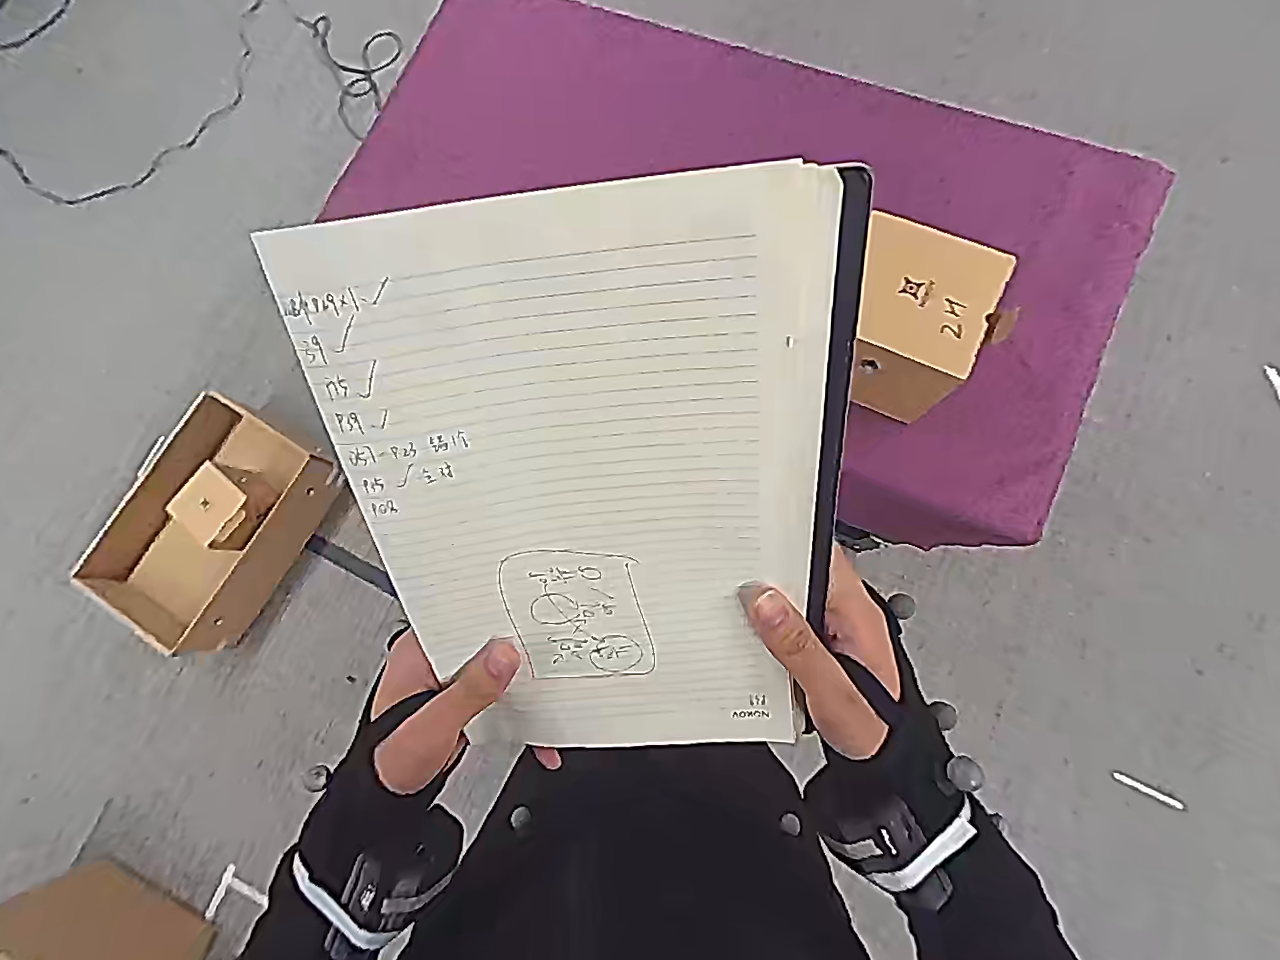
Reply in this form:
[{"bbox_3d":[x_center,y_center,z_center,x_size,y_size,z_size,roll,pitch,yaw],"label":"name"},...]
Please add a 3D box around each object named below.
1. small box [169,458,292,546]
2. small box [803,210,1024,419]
[{"bbox_3d":[-1.116,0.068,1.489,0.179,0.176,0.168,39,85,11],"label":"small box"},{"bbox_3d":[0.331,-0.198,0.694,0.179,0.176,0.168,26,83,10],"label":"small box"}]
